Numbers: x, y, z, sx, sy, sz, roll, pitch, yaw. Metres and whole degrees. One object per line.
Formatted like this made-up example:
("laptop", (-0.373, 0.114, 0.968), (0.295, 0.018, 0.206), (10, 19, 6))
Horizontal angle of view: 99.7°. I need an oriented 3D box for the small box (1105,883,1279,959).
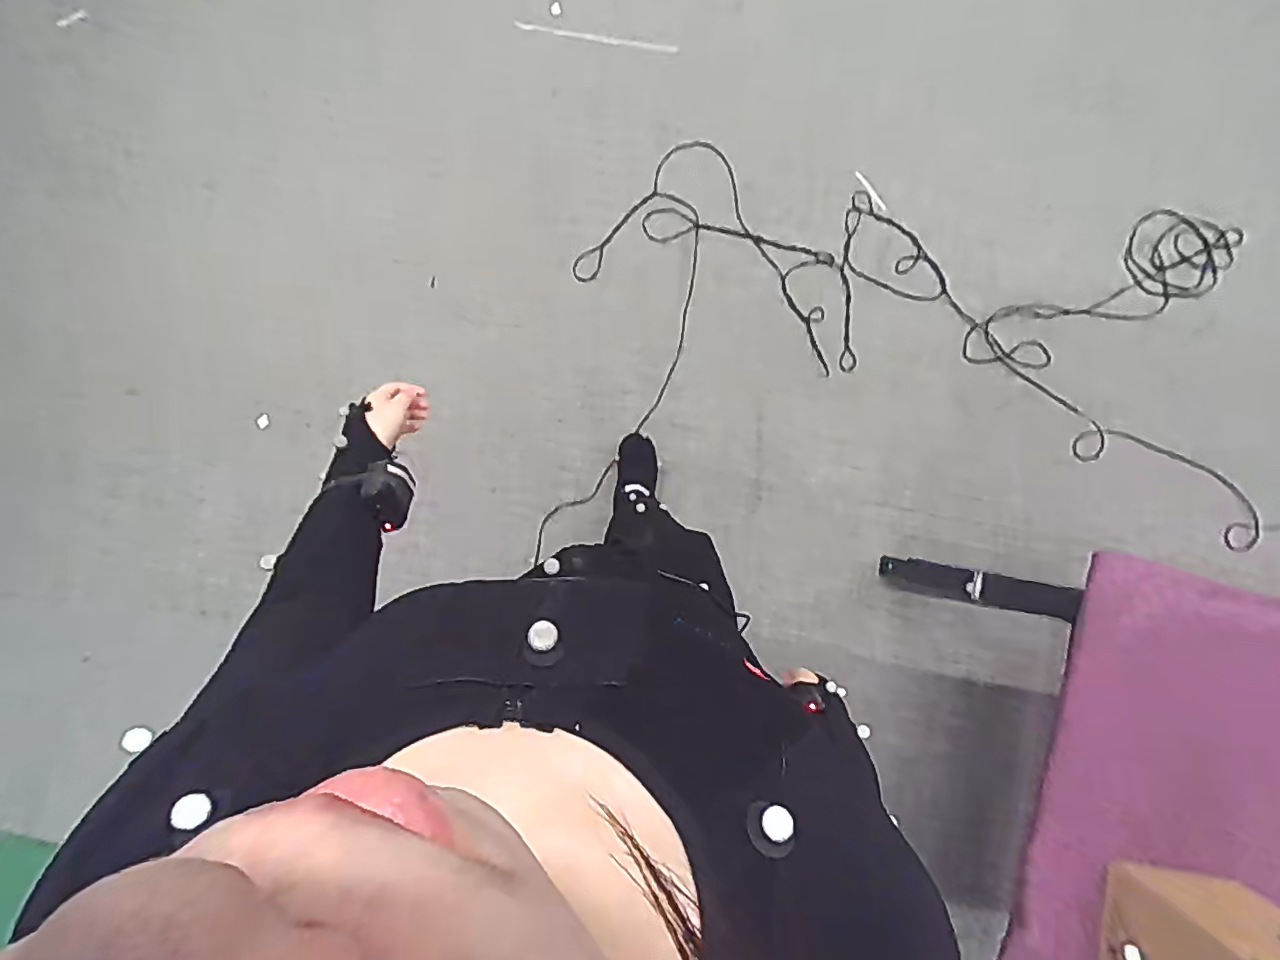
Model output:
("small box", (0.694, 0.610, 0.622), (0.179, 0.176, 0.168), (10, 86, 0))
